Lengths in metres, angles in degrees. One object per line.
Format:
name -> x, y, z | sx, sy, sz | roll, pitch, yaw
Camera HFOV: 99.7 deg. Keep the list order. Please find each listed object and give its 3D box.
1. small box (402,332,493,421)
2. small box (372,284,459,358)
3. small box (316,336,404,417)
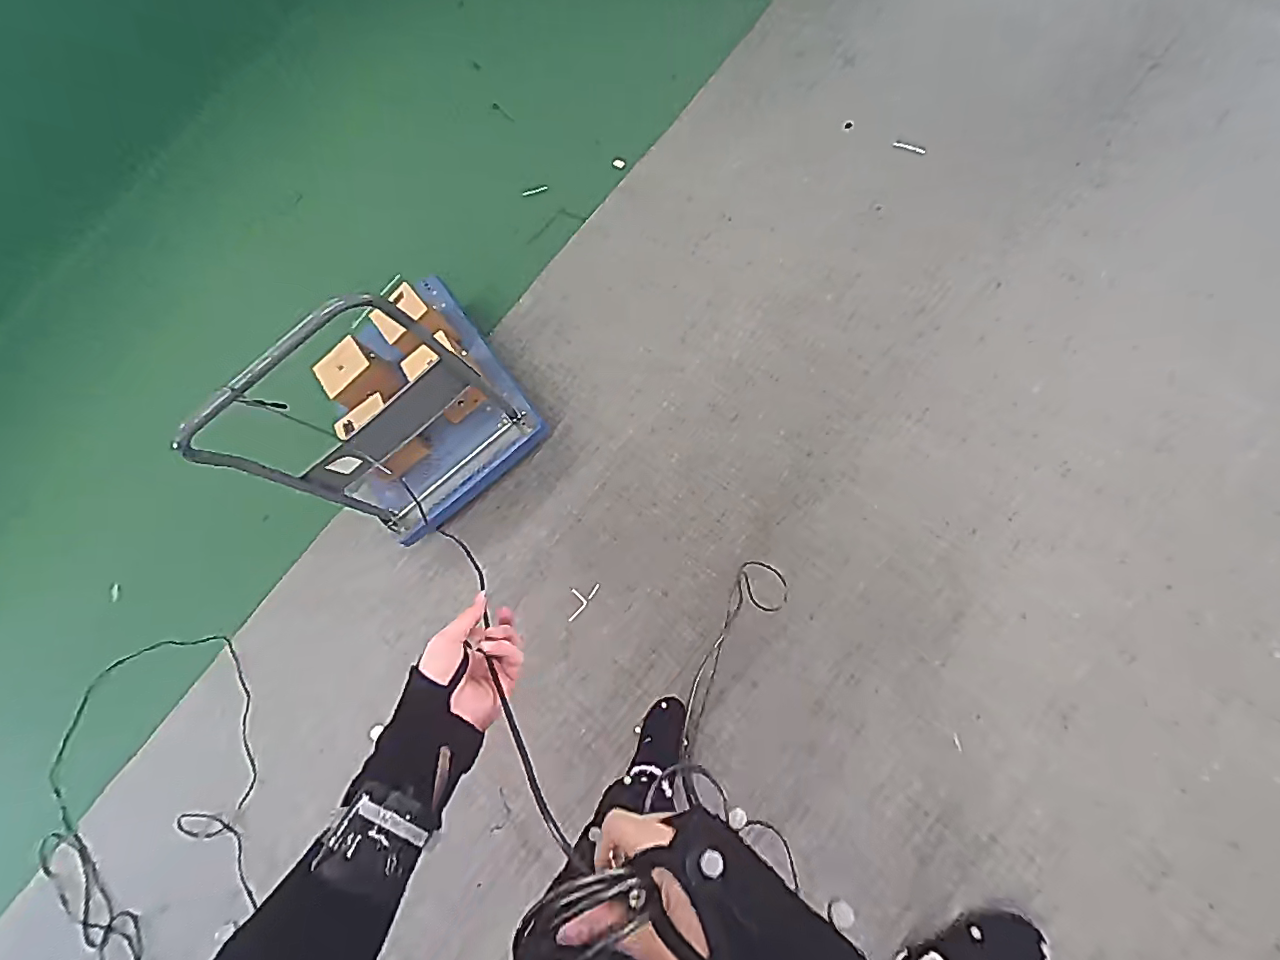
small box -> -0.589, -0.313, 1.671 | 0.168, 0.176, 0.179 | -38, 64, 3
small box -> -0.739, -0.504, 1.791 | 0.168, 0.176, 0.179 | -43, 64, 2
small box -> -0.923, -0.333, 1.794 | 0.168, 0.176, 0.179 | -42, 63, 0
